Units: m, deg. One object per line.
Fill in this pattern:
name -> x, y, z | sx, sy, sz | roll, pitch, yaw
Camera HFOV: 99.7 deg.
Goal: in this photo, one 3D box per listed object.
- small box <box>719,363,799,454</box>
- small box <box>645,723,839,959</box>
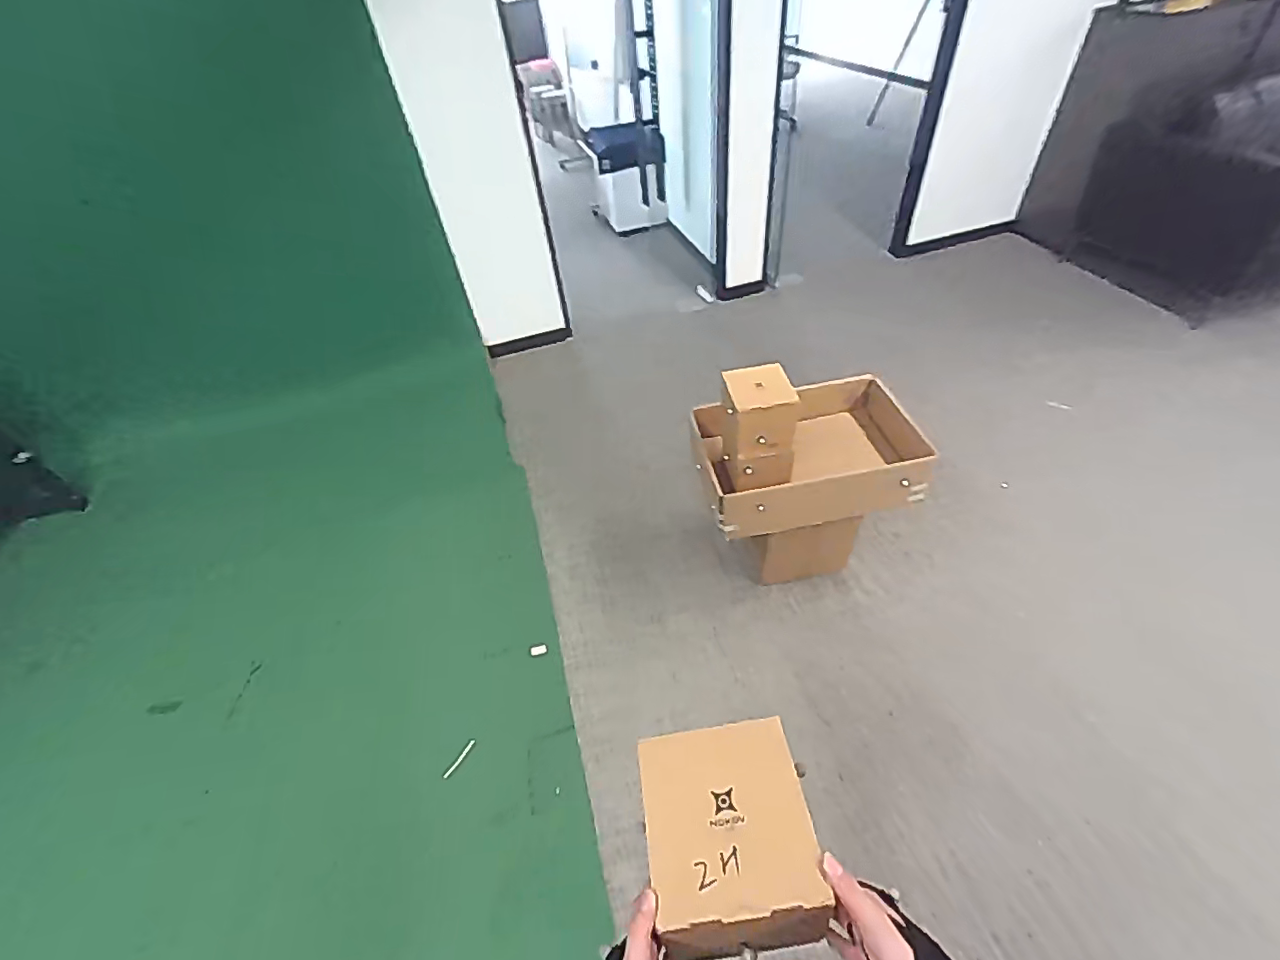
small box -> 0.316, -0.196, 1.480 | 0.168, 0.176, 0.179 | -9, 47, -3
small box -> 0.101, 0.401, 0.599 | 0.168, 0.176, 0.179 | -9, 41, 1
